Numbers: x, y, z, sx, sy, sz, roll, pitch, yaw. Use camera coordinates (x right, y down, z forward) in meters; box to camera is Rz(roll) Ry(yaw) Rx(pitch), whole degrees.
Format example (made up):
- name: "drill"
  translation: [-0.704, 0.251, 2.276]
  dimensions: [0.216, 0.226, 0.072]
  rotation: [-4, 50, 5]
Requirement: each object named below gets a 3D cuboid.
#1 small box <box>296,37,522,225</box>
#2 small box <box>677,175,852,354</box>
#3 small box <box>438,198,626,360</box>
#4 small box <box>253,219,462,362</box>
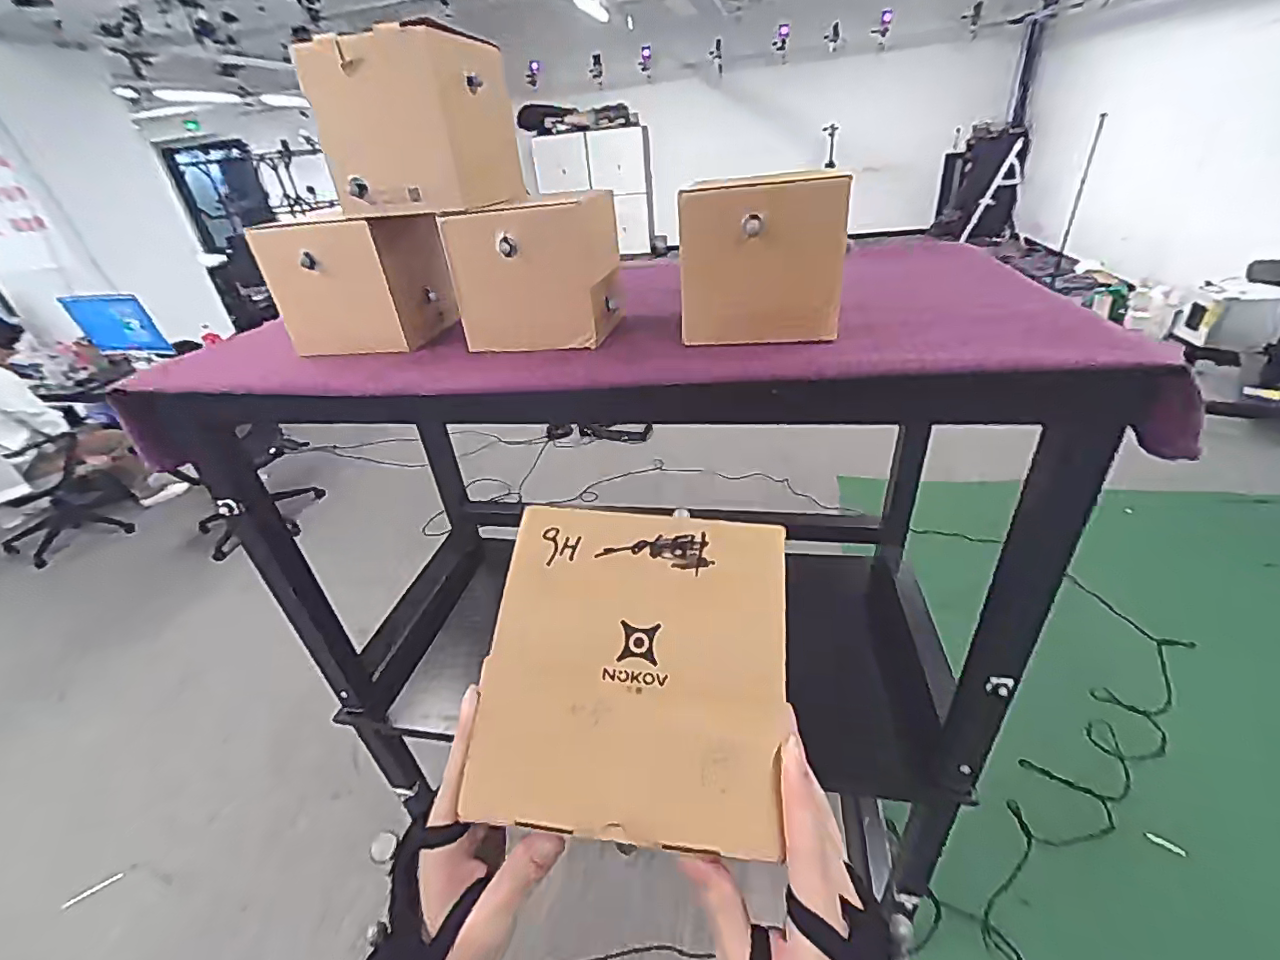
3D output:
- name: "small box"
  translation: [-0.261, -0.412, 0.662]
  dimensions: [0.168, 0.176, 0.179]
  rotation: [3, 32, 13]
- name: "small box"
  translation: [0.147, -0.259, 0.653]
  dimensions: [0.179, 0.176, 0.168]
  rotation: [0, 31, 13]
- name: "small box"
  translation: [-0.126, -0.262, 0.709]
  dimensions: [0.179, 0.176, 0.168]
  rotation: [2, 32, 13]
- name: "small box"
  translation: [-0.386, -0.274, 0.774]
  dimensions: [0.179, 0.176, 0.168]
  rotation: [0, 33, 11]
